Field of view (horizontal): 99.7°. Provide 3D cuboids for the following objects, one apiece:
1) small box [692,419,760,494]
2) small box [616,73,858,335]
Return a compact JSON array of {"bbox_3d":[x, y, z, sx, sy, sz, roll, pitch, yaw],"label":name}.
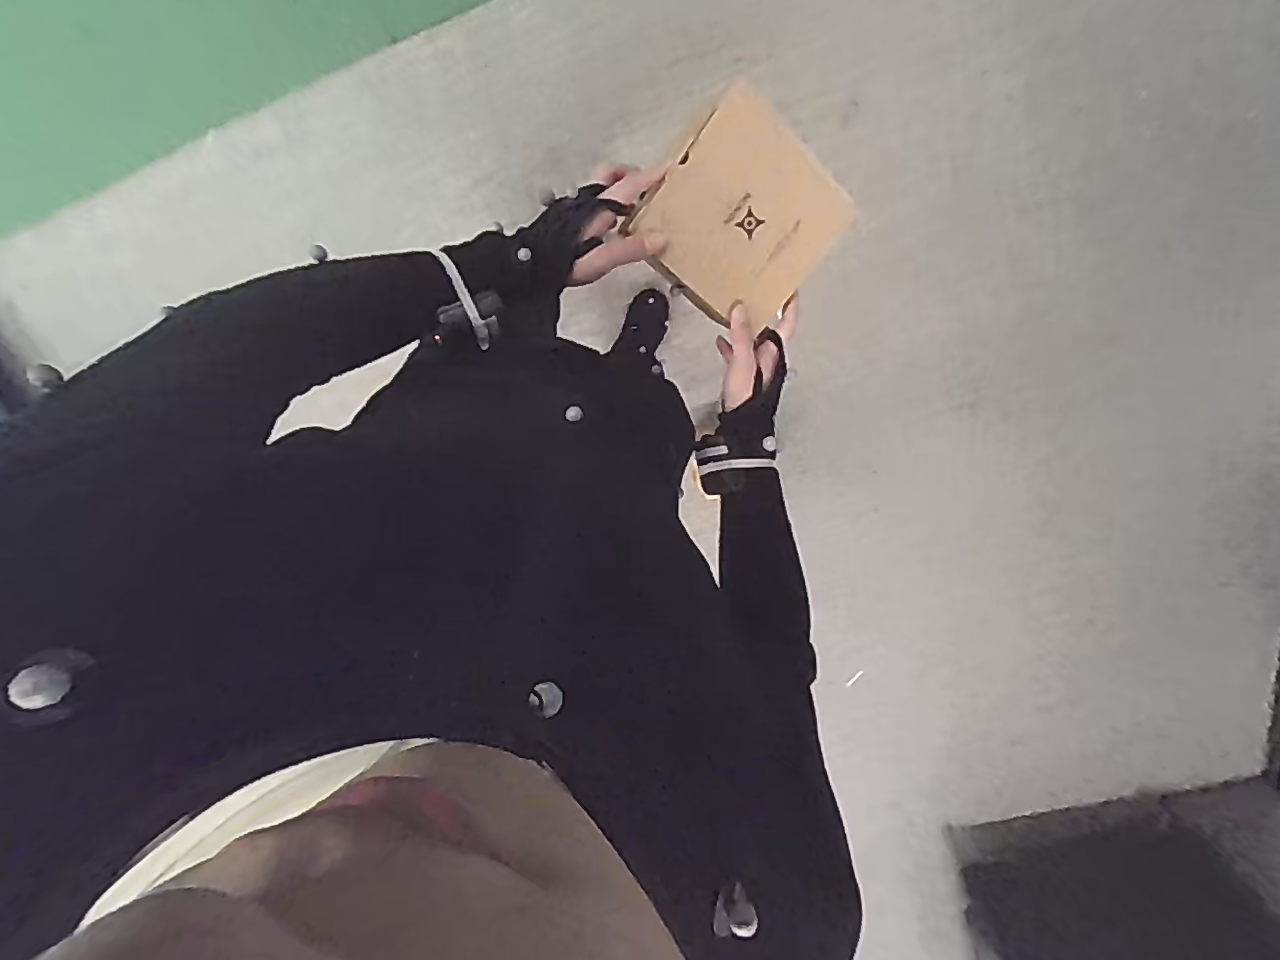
[{"bbox_3d":[0.249,-0.074,1.587,0.179,0.176,0.168,-6,113,5],"label":"small box"},{"bbox_3d":[0.090,-0.288,0.597,0.179,0.176,0.168,34,106,-22],"label":"small box"}]
